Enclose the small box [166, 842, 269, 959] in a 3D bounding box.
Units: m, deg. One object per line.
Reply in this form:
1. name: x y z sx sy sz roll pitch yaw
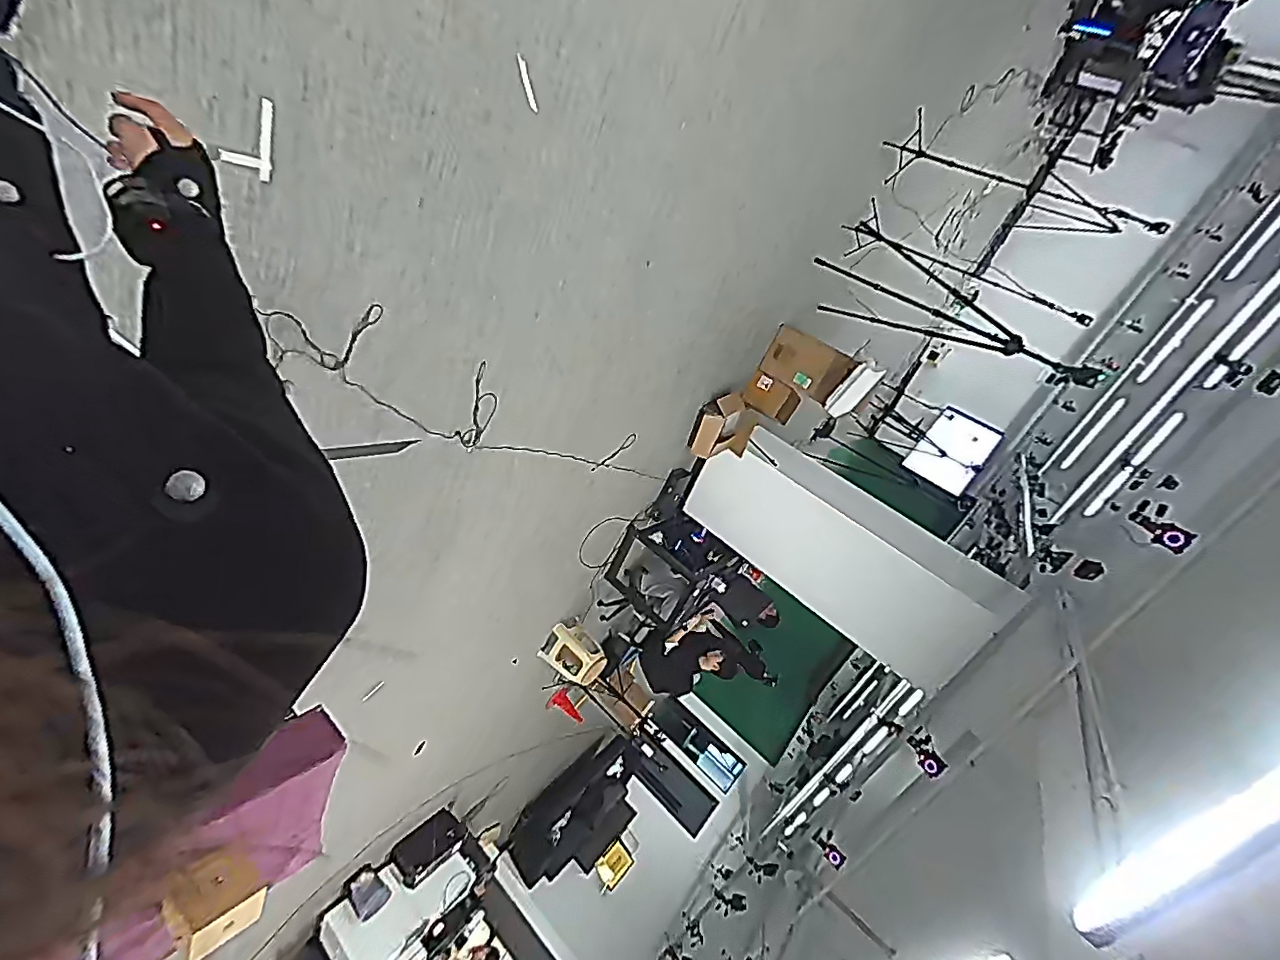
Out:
1. small box: -1.134 1.119 1.447 0.168 0.176 0.179 -12 134 -56
